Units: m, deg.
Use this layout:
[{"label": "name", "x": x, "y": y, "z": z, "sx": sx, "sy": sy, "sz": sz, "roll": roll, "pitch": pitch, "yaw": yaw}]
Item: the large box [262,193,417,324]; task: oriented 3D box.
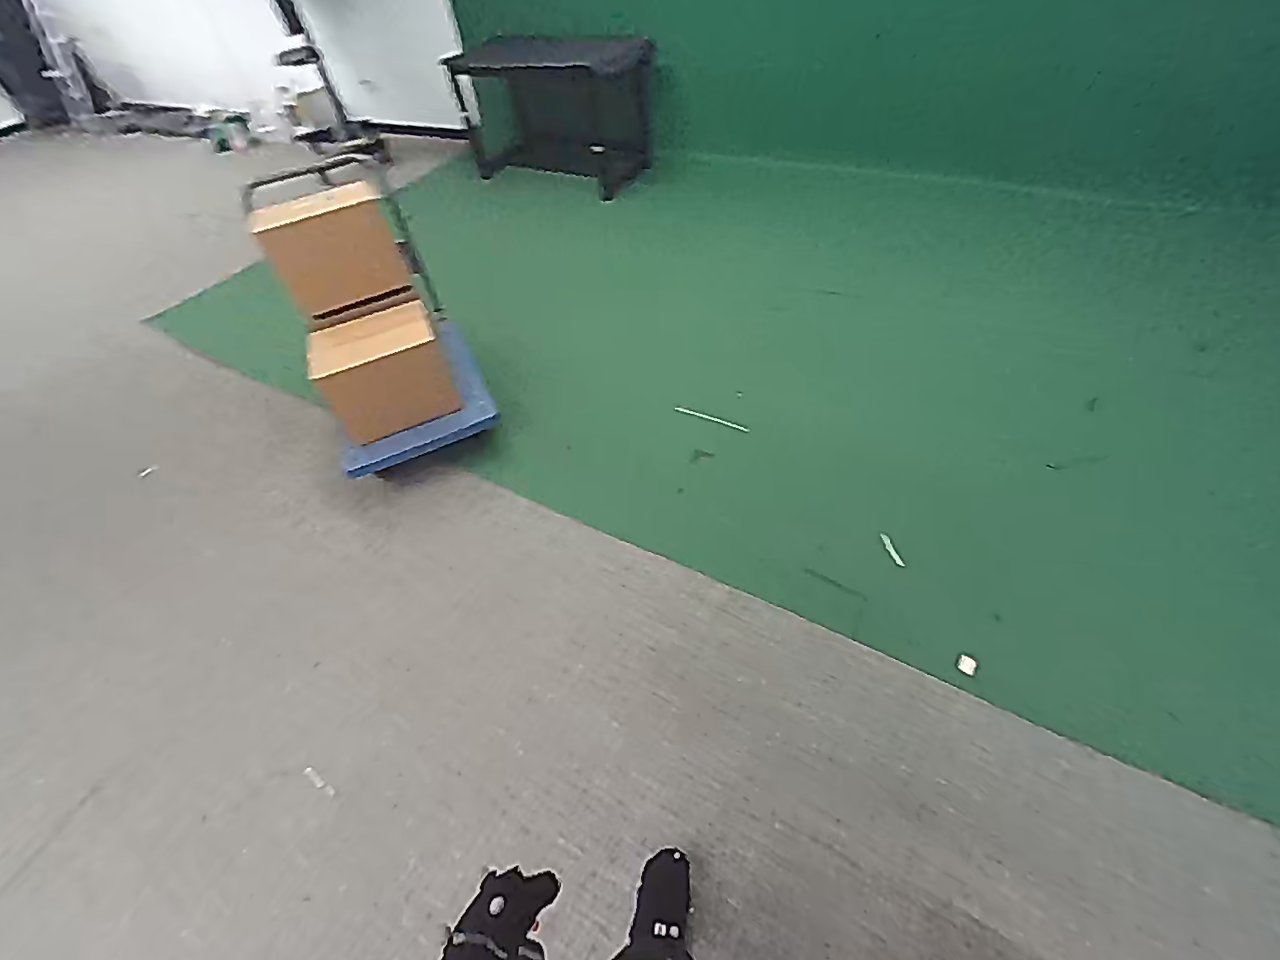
[{"label": "large box", "x": -1.106, "y": -0.829, "z": 2.011, "sx": 0.408, "sy": 0.320, "sz": 0.320, "roll": -24, "pitch": 44, "yaw": -14}]
